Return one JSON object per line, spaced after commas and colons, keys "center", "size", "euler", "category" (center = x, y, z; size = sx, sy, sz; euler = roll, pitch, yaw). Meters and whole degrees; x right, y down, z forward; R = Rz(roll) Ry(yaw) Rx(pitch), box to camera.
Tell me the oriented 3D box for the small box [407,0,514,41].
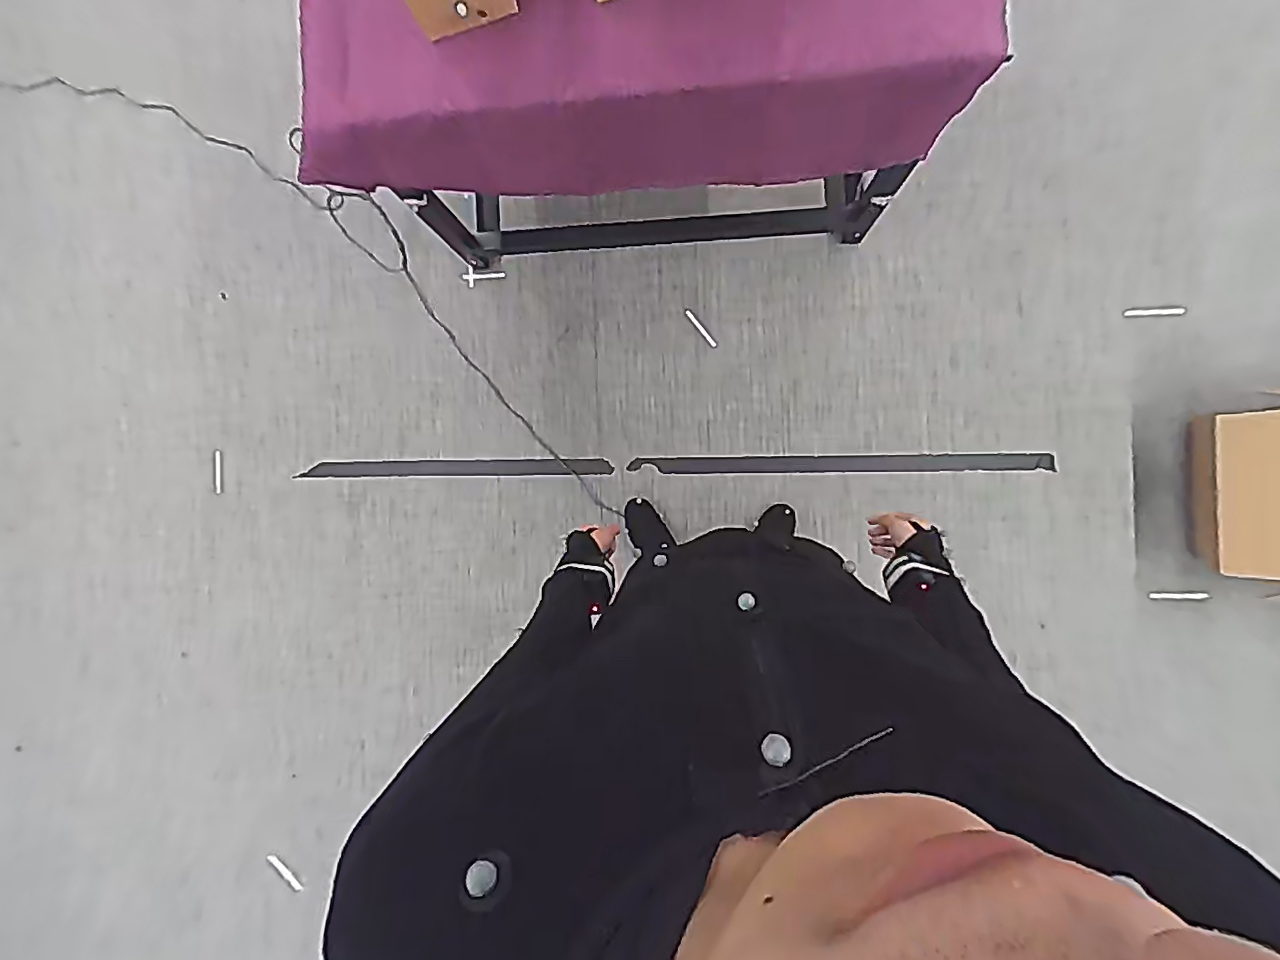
{"center": [-0.319, -0.864, 0.858], "size": [0.168, 0.176, 0.179], "euler": [-16, 90, 5], "category": "small box"}
